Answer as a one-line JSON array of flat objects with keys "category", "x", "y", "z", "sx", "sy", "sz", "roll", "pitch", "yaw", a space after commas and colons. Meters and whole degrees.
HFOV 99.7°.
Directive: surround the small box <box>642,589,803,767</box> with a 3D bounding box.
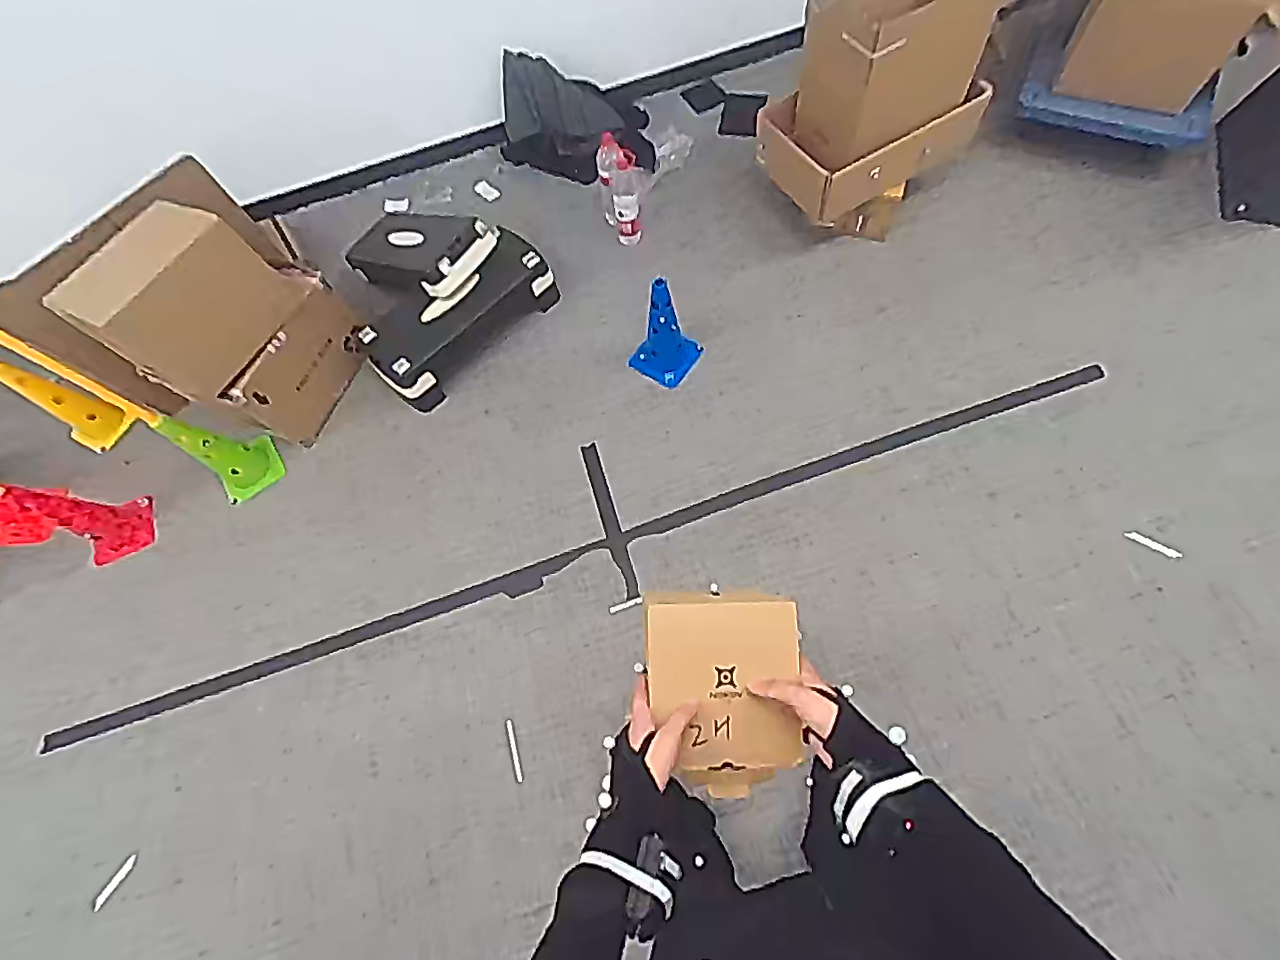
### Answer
[{"category": "small box", "x": 0.088, "y": 0.224, "z": 0.656, "sx": 0.168, "sy": 0.176, "sz": 0.179, "roll": 0, "pitch": 83, "yaw": -2}]
